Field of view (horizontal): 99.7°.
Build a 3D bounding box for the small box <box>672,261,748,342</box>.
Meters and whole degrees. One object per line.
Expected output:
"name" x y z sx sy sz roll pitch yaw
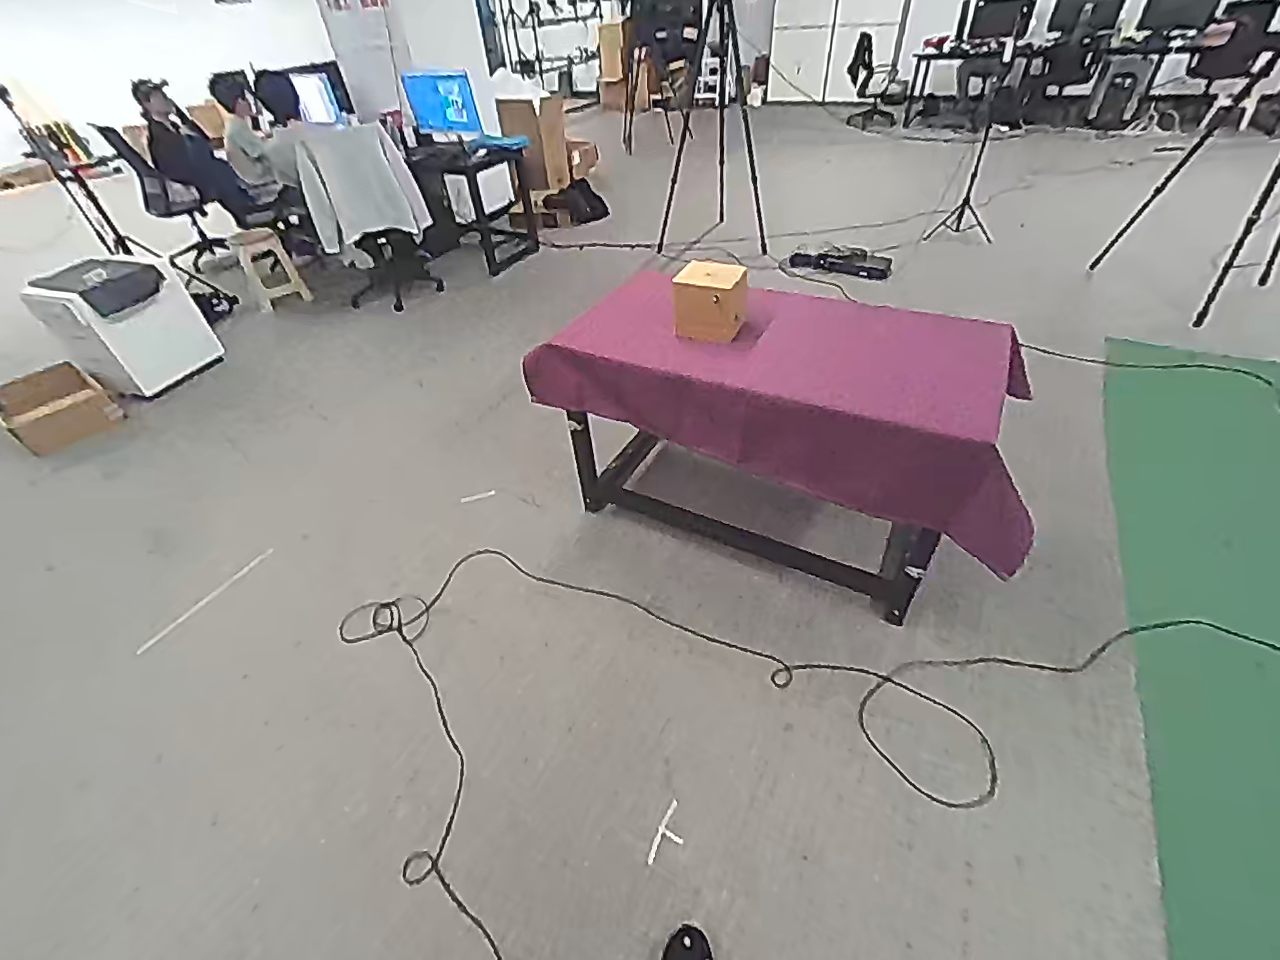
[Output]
"small box" 0.204 -0.525 1.593 0.179 0.176 0.168 15 46 20
